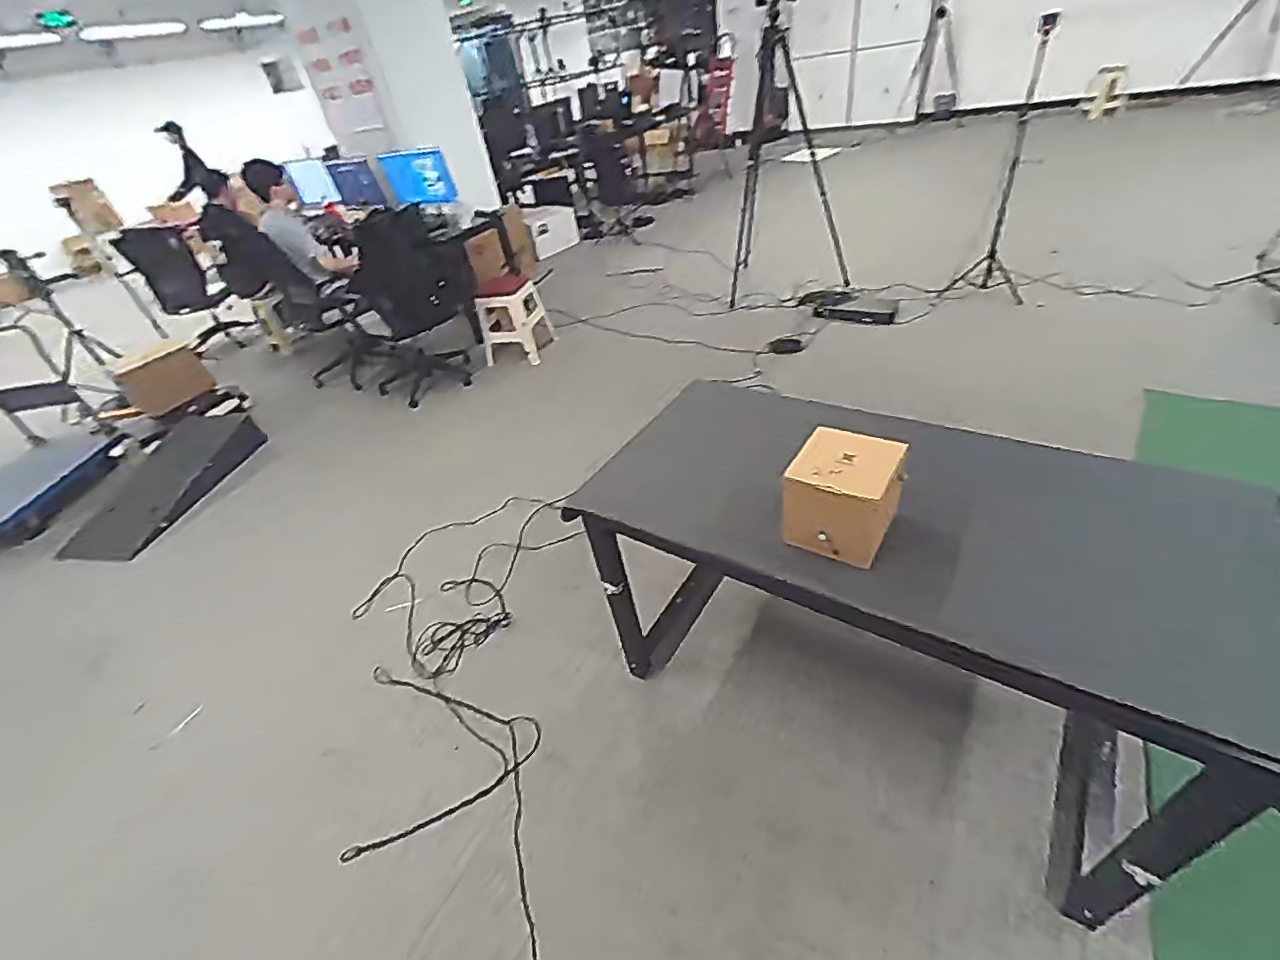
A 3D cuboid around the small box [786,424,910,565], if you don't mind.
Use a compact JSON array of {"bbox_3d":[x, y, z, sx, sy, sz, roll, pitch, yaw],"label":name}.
[{"bbox_3d":[0.382,0.024,1.010,0.168,0.176,0.179,18,46,33],"label":"small box"}]
